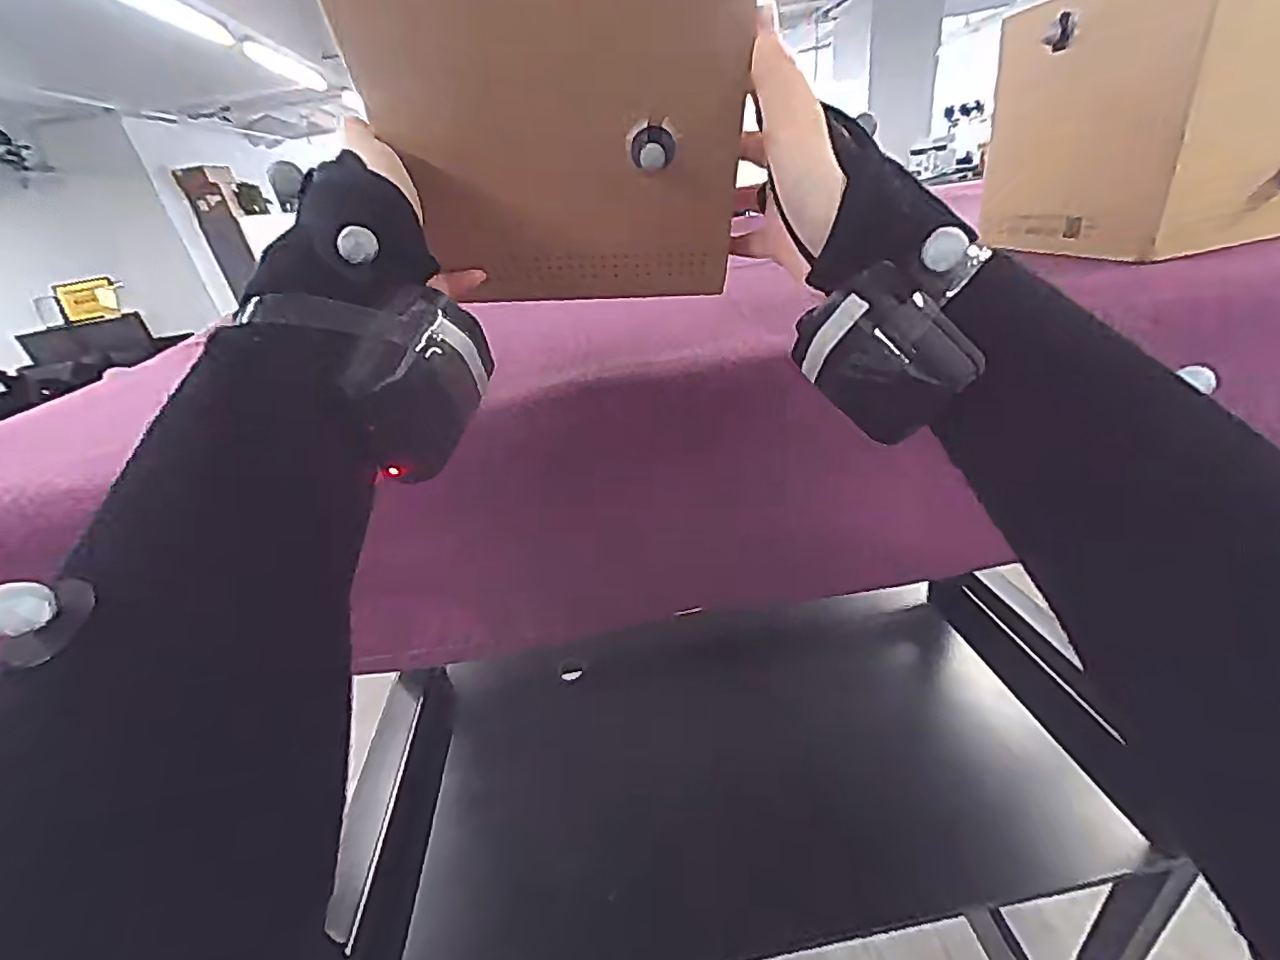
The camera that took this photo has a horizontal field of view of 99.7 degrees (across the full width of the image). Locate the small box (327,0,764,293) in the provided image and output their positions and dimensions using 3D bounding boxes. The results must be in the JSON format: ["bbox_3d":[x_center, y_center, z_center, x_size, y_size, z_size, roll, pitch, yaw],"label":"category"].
[{"bbox_3d":[-0.037,-0.226,0.305,0.179,0.176,0.168,-2,57,1],"label":"small box"}]

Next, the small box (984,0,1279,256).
[{"bbox_3d":[0.386,-0.269,0.386,0.179,0.176,0.168,-12,27,-3],"label":"small box"}]
